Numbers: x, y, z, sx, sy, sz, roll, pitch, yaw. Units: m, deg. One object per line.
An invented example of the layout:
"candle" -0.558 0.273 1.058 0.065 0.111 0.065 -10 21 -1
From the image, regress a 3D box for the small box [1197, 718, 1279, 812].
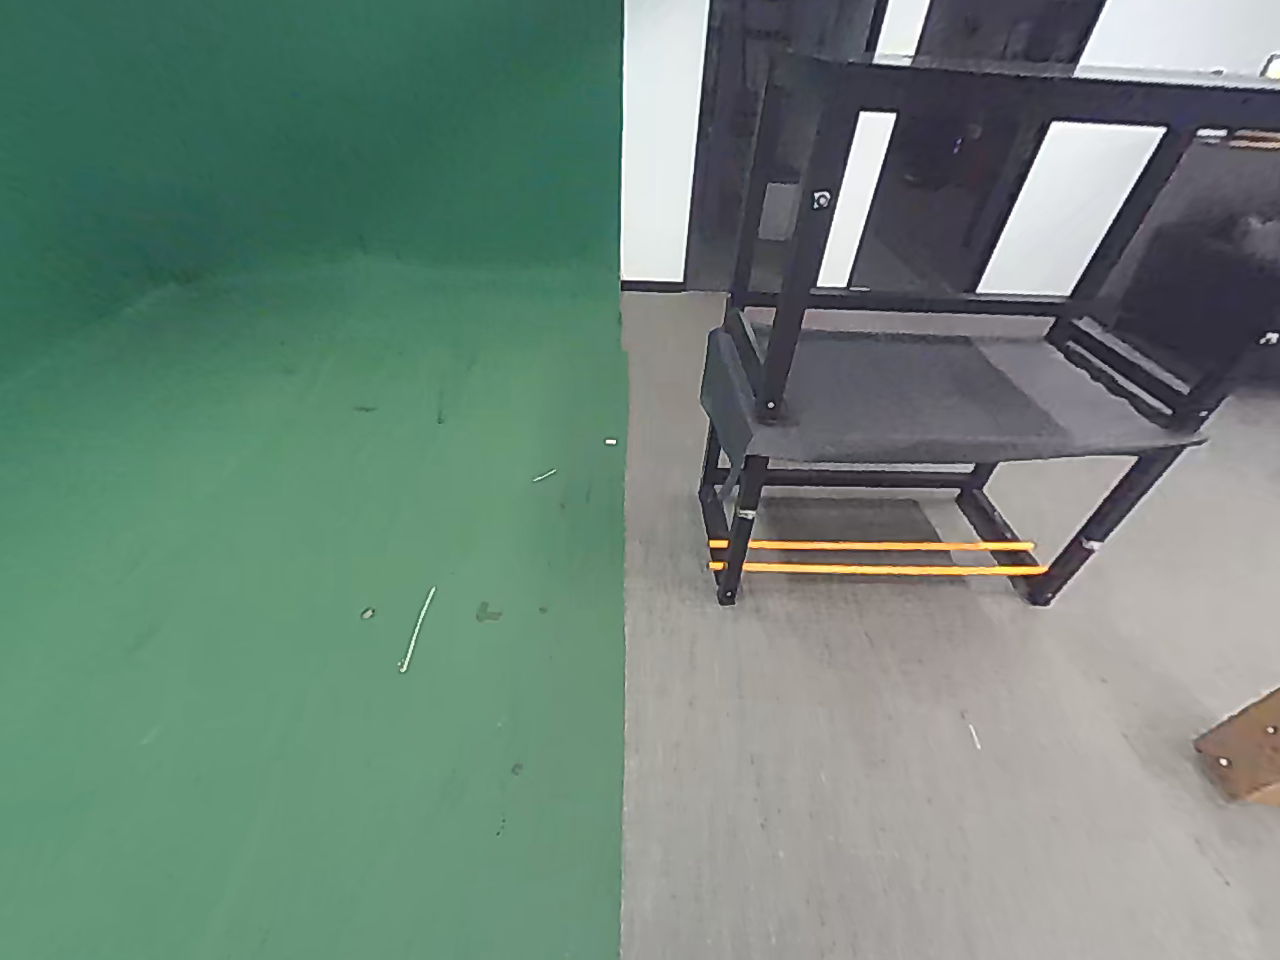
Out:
"small box" 1.661 0.754 1.425 0.179 0.176 0.168 4 40 2
